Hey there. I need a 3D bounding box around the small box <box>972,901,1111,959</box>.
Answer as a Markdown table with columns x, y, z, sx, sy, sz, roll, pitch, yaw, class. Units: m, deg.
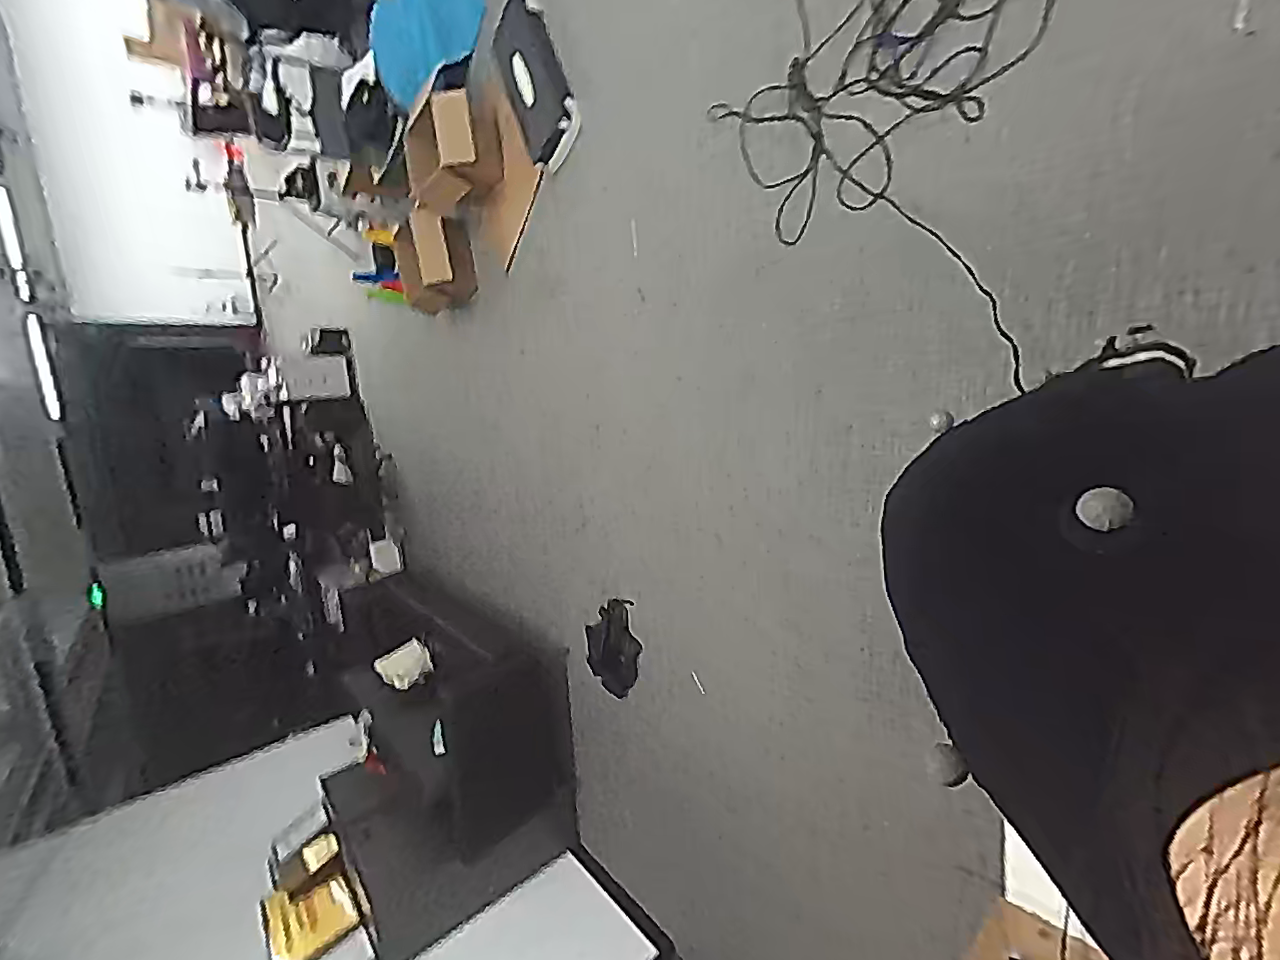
| x | y | z | sx | sy | sz | roll | pitch | yaw | class |
| --- | --- | --- | --- | --- | --- | --- | --- | --- | --- |
| 0.527 | 0.702 | 0.688 | 0.168 | 0.176 | 0.179 | 5 | 103 | 51 | small box |
